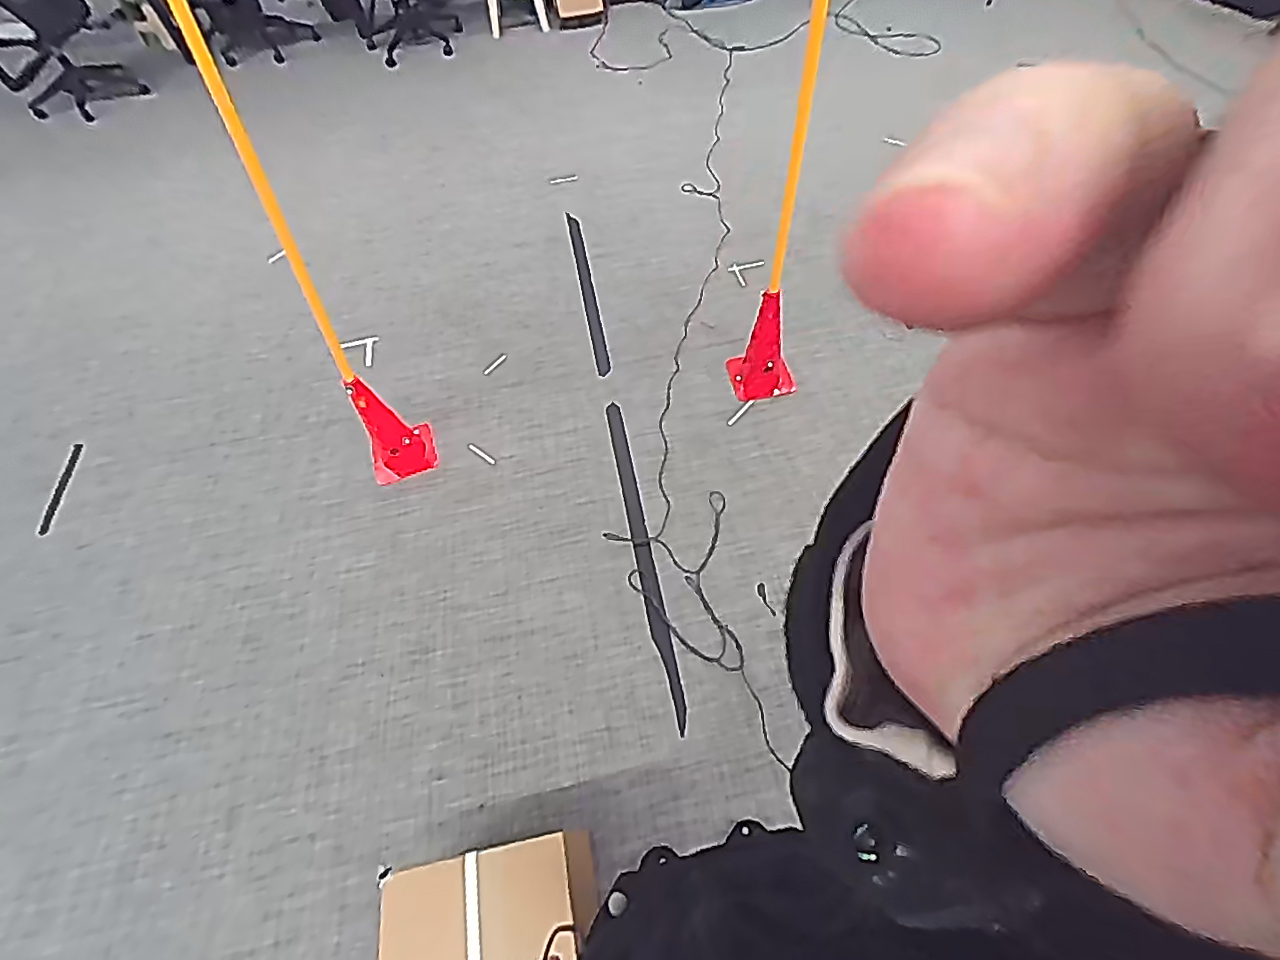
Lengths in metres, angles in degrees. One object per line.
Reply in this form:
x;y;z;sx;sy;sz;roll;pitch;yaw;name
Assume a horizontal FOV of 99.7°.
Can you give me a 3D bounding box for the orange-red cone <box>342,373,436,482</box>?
-0.781;-0.182;1.615;0.199;0.360;0.198;-20;58;-7;orange-red cone
